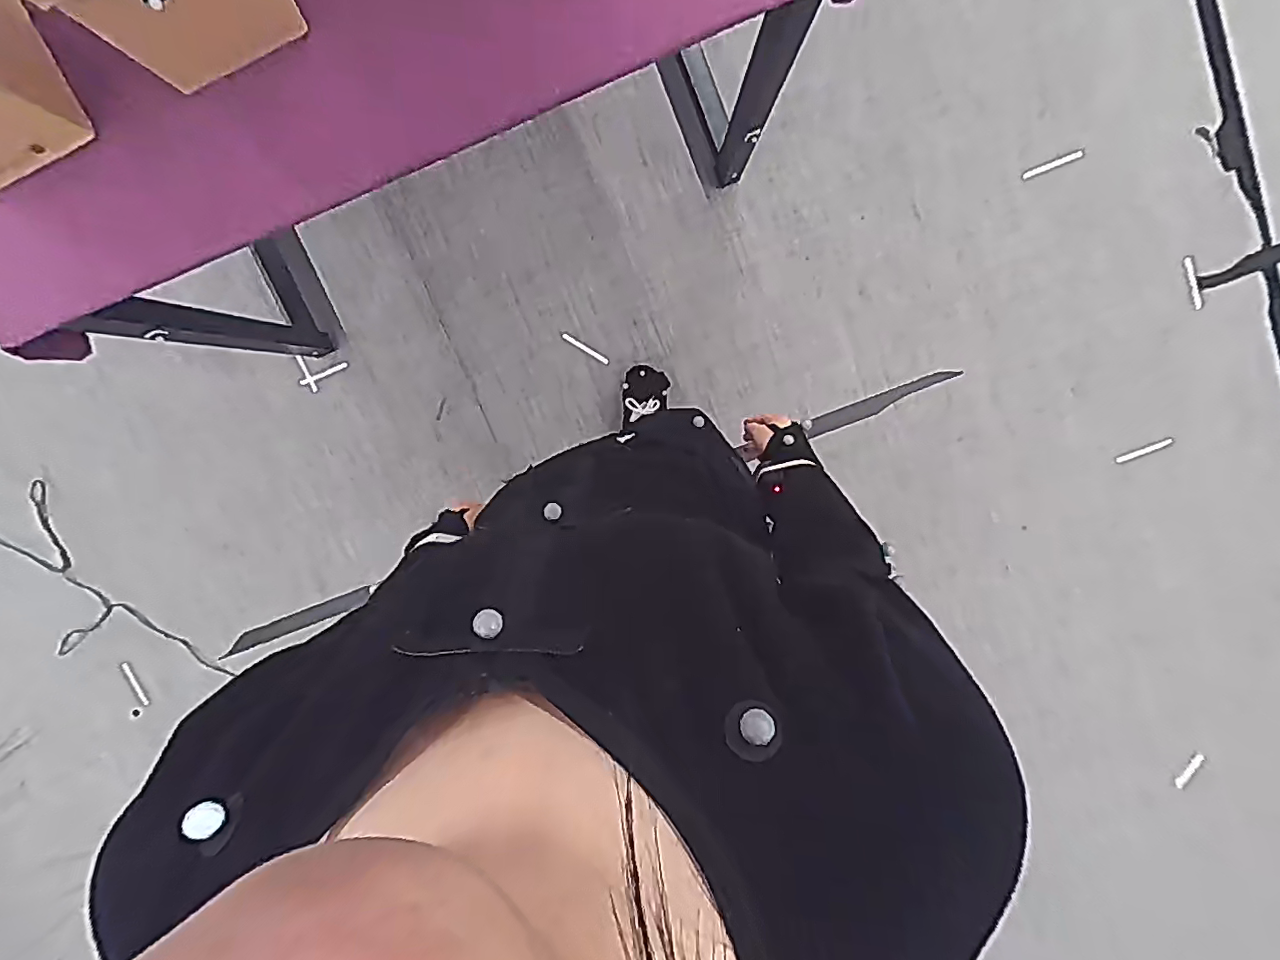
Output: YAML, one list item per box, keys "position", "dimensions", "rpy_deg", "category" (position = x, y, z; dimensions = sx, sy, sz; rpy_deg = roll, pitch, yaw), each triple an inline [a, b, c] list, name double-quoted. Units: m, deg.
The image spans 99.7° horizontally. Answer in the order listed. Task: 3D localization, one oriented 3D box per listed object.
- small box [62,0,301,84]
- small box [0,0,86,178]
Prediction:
- position: [-0.515, -0.573, 0.571]
  dimensions: [0.179, 0.176, 0.168]
  rpy_deg: [-24, 99, 2]
  category: "small box"
- position: [-0.787, -0.459, 0.588]
  dimensions: [0.168, 0.176, 0.179]
  rpy_deg: [-25, 98, 3]
  category: "small box"
